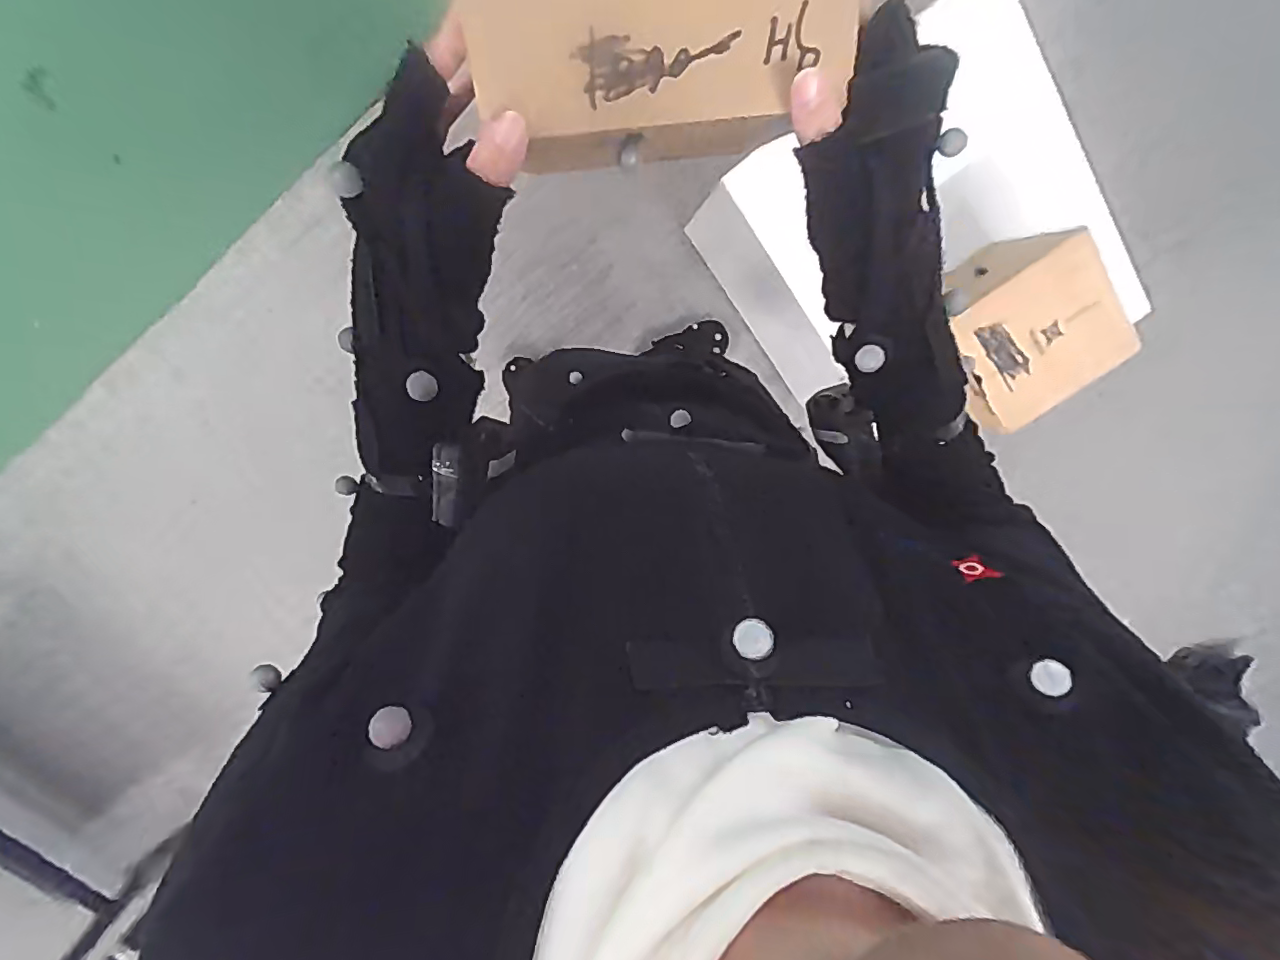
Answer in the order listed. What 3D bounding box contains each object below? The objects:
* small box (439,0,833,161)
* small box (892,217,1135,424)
[{"bbox_3d":[-0.013,-0.279,0.272,0.168,0.176,0.179,-8,115,-2],"label":"small box"},{"bbox_3d":[0.455,-0.199,0.694,0.179,0.176,0.168,-35,105,9],"label":"small box"}]
